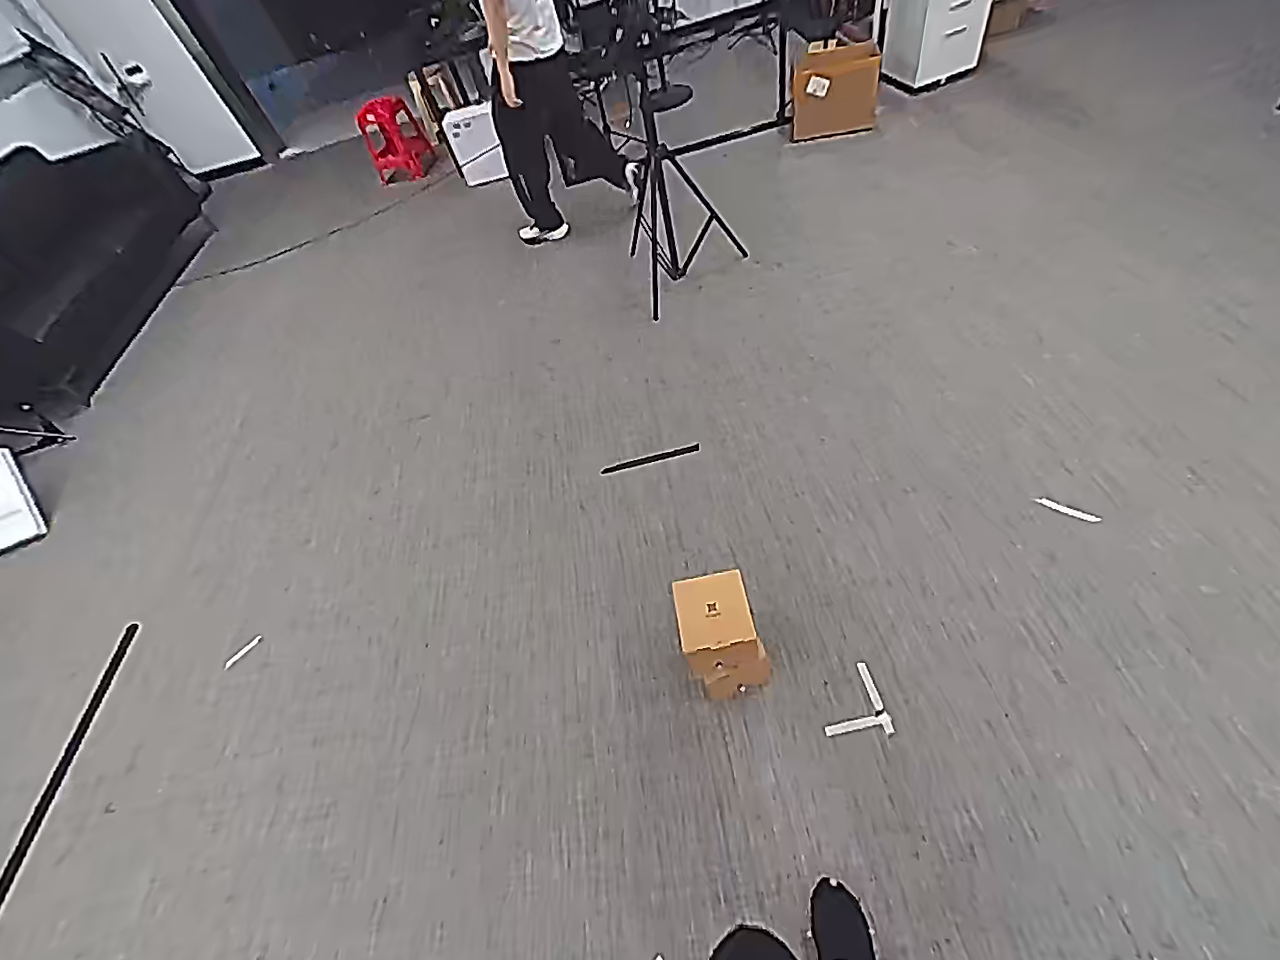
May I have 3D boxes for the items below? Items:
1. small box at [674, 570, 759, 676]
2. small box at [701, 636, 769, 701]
[{"bbox_3d":[0.181,0.341,1.282,0.168,0.176,0.179,-12,51,5],"label":"small box"},{"bbox_3d":[0.221,0.443,1.403,0.168,0.176,0.179,-22,51,-2],"label":"small box"}]
